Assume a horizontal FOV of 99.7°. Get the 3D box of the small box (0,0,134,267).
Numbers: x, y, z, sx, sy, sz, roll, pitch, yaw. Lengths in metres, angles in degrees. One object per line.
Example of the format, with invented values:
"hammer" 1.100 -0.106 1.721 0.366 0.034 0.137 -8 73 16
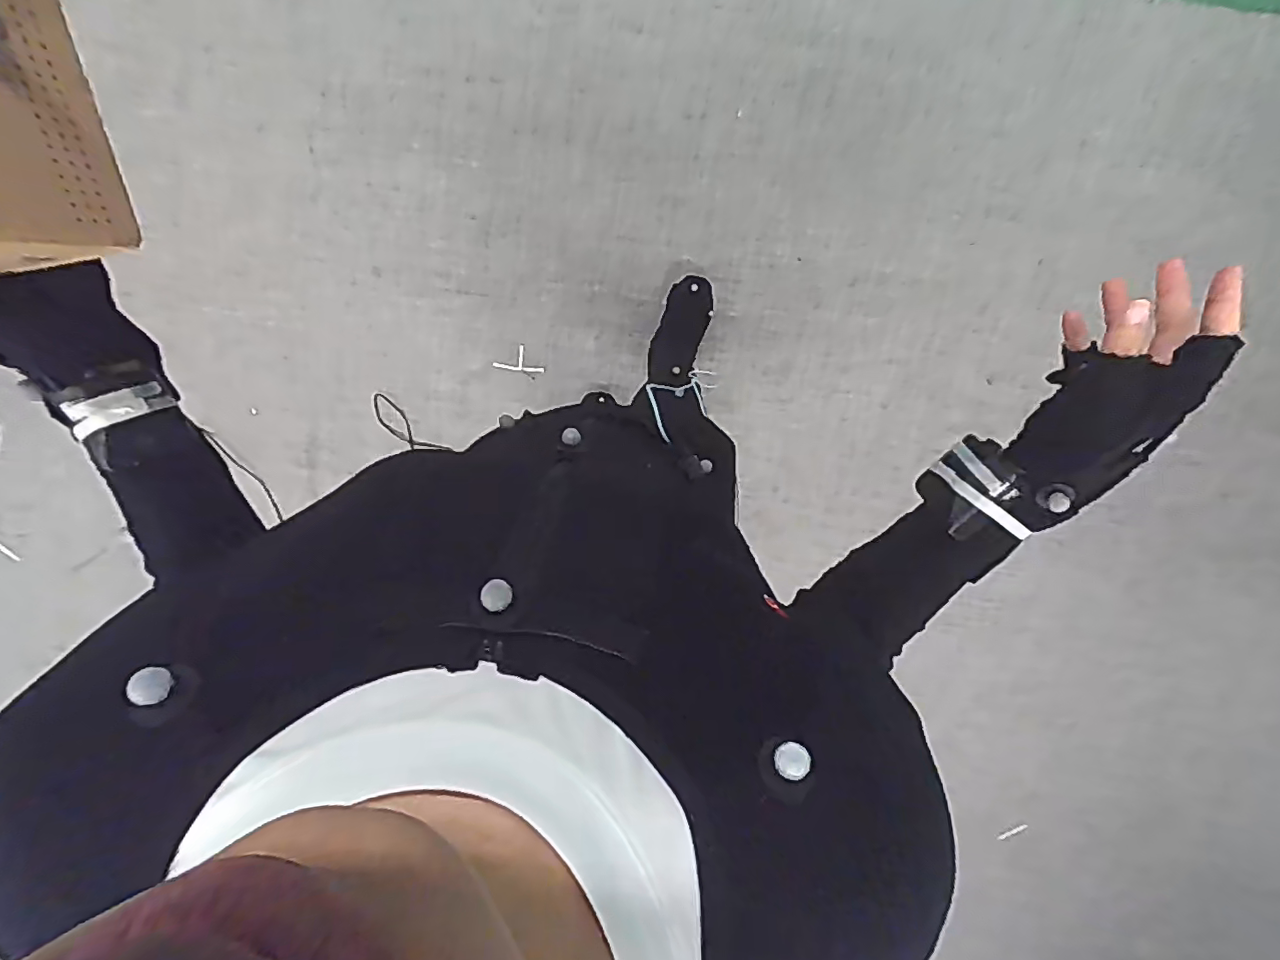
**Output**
"small box" -0.373 -0.185 0.216 0.168 0.176 0.179 2 111 20
